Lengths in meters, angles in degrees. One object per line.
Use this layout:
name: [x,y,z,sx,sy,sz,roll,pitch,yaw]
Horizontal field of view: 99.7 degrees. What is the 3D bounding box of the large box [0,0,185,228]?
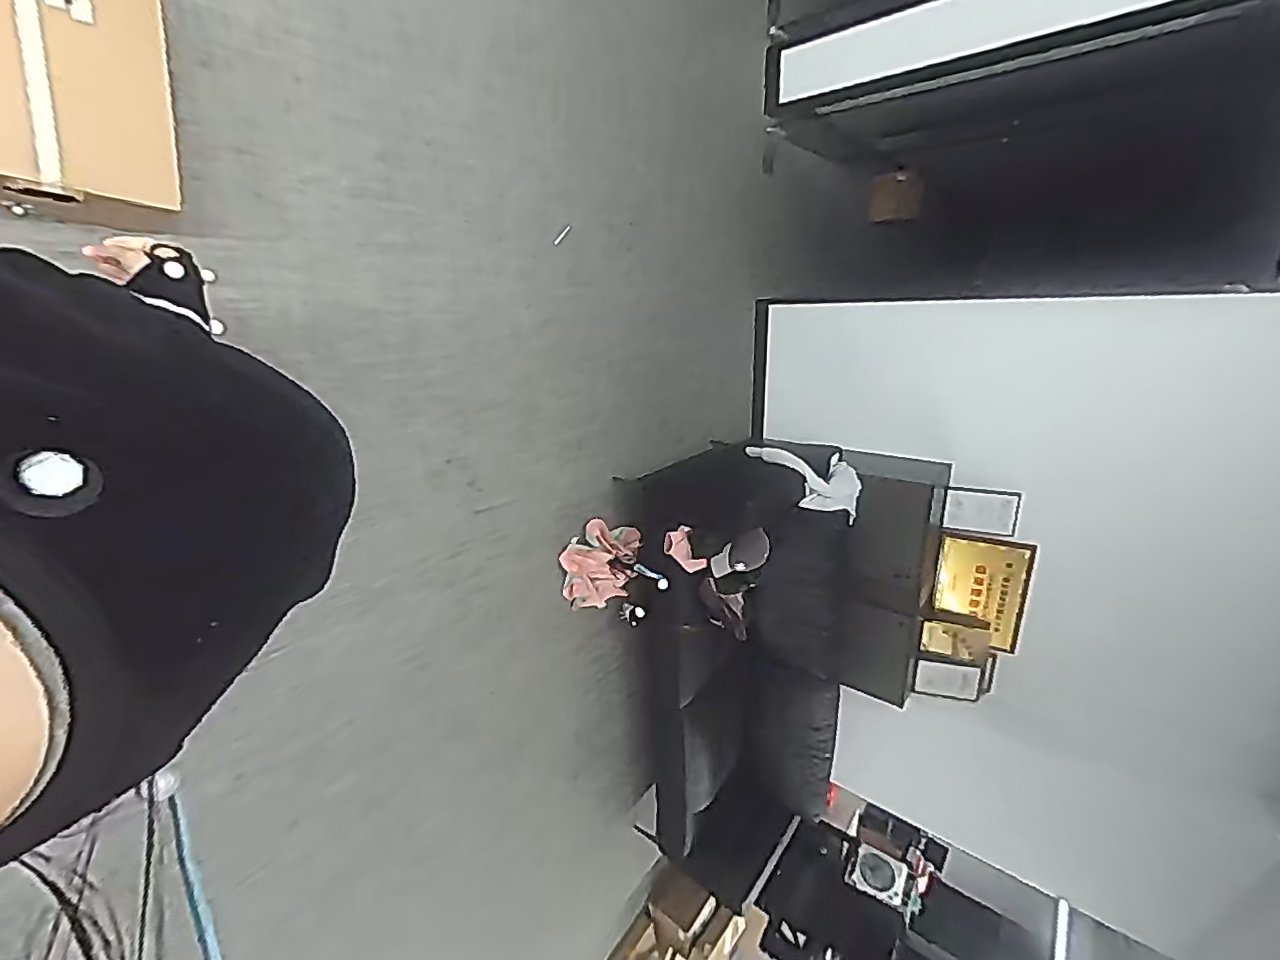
large box: [-0.983,-0.662,0.863,0.320,0.320,0.408,-11,108,-50]
